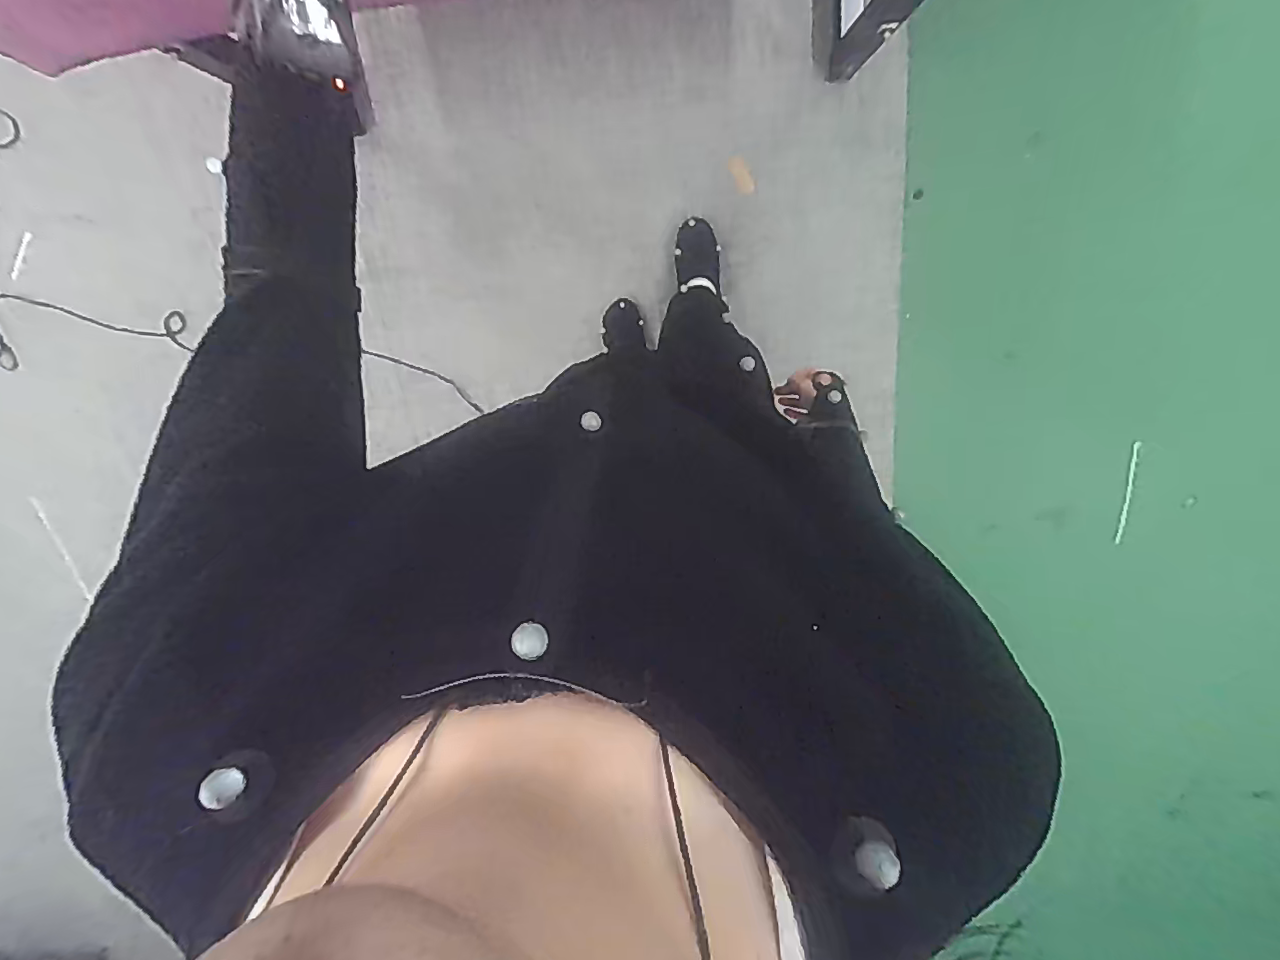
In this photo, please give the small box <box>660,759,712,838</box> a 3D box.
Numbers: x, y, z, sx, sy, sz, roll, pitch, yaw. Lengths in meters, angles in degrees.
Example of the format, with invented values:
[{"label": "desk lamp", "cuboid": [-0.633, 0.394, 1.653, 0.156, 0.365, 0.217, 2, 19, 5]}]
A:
[{"label": "small box", "cuboid": [0.153, 1.071, 1.827, 0.168, 0.176, 0.179, -1, 110, 2]}]
